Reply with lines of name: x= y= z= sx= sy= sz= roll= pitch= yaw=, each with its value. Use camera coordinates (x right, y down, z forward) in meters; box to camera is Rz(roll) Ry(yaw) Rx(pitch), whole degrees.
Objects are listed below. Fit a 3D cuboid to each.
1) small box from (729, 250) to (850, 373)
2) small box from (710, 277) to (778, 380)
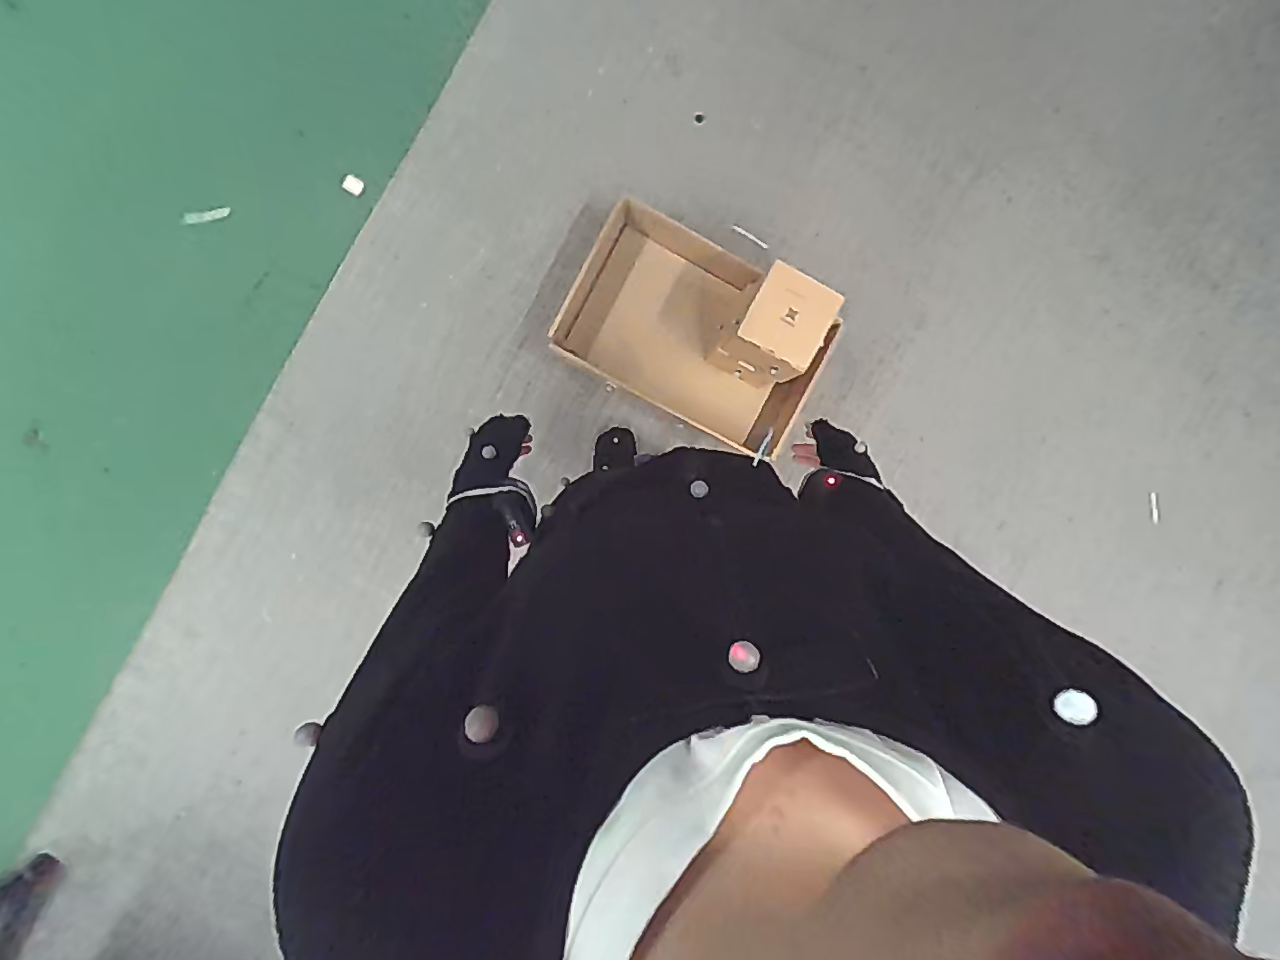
small box: x=0.306 y=-0.346 z=1.154 sx=0.168 sy=0.176 sz=0.179 roll=28 pitch=92 yaw=-4
small box: x=0.284 y=-0.362 z=1.334 sx=0.168 sy=0.176 sz=0.179 roll=24 pitch=92 yaw=-3
